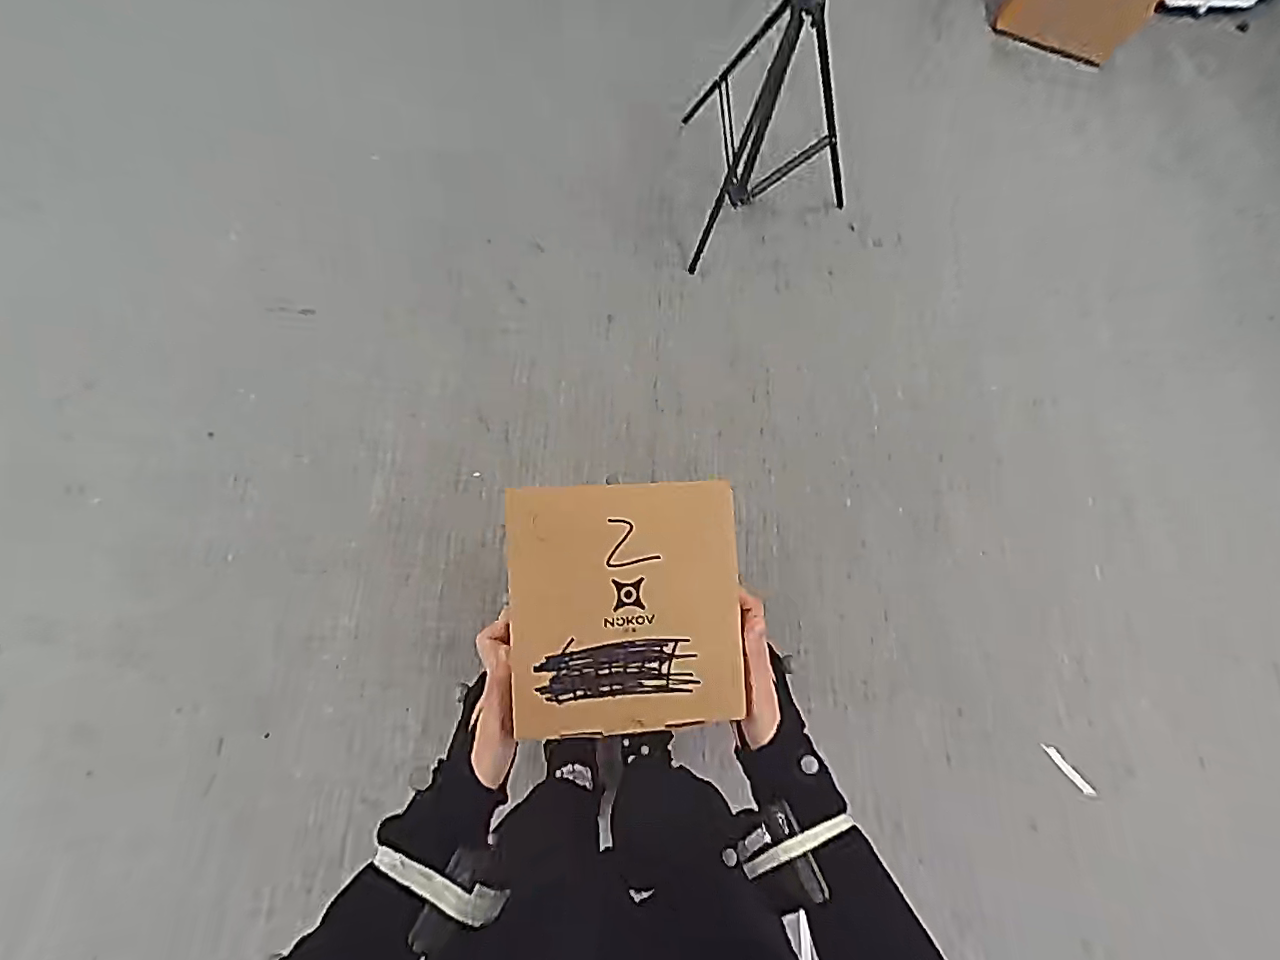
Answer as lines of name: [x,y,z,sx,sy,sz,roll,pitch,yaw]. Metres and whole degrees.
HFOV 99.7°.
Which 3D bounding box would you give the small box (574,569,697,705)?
small box: [-0.011,0.236,0.824,0.168,0.176,0.179,4,75,-4]
